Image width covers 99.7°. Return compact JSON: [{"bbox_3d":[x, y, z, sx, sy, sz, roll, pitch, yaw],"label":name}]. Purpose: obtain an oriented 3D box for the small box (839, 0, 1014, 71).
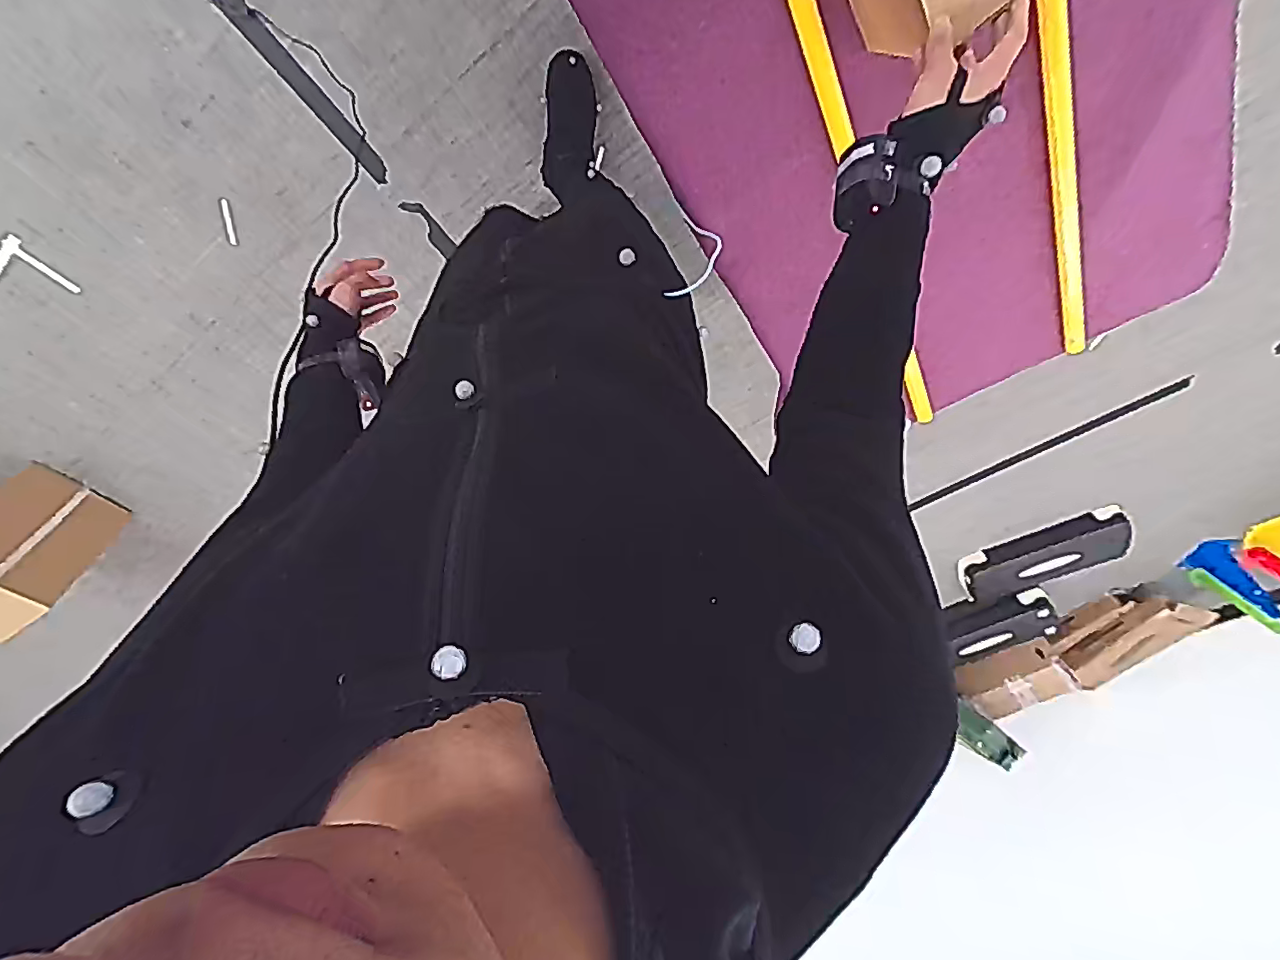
[{"bbox_3d":[0.267,-0.518,0.479,0.168,0.176,0.179,-32,127,23],"label":"small box"}]
